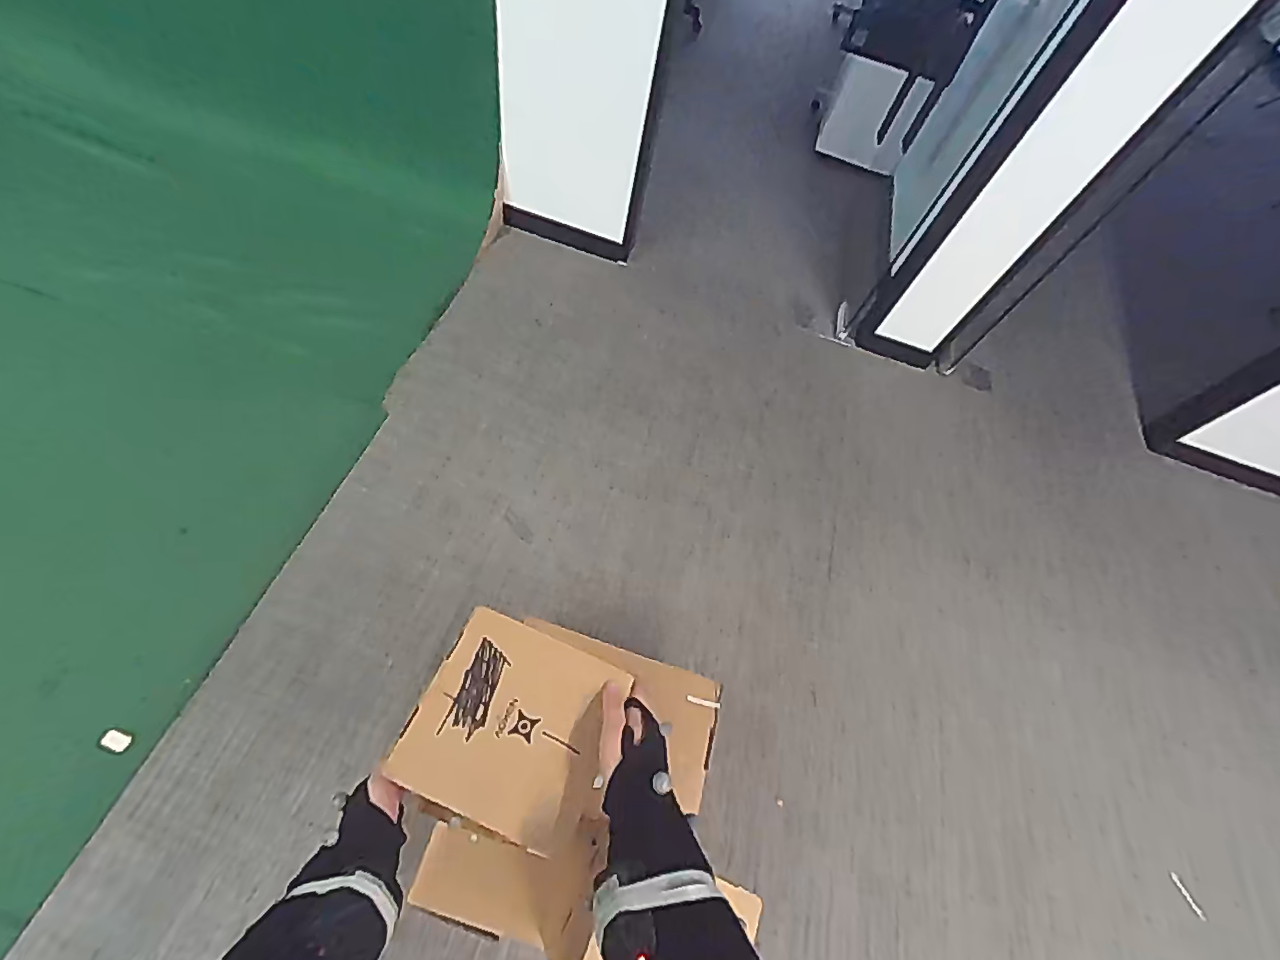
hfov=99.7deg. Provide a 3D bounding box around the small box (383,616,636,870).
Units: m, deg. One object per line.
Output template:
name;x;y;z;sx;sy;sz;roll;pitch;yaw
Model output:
small box;-0.126;0.272;0.562;0.179;0.176;0.168;24;57;2

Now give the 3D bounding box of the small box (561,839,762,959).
small box;0.013;0.541;0.620;0.168;0.176;0.179;26;57;4
